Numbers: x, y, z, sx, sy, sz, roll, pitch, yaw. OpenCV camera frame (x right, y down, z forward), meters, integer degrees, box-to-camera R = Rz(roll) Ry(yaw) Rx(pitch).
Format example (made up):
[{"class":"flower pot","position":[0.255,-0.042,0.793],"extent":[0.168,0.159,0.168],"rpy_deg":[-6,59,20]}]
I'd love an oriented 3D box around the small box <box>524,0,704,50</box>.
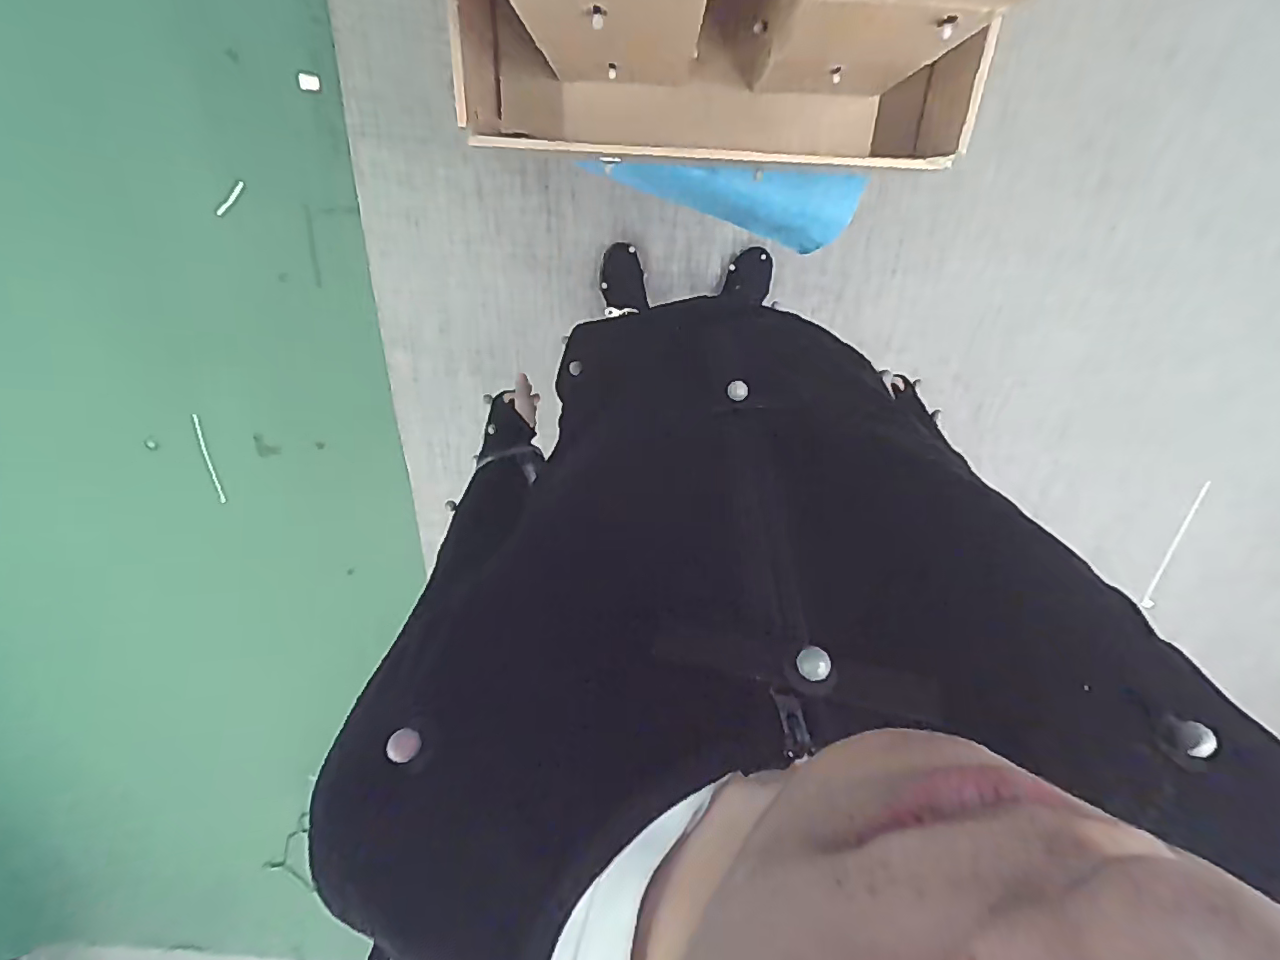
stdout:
[{"class":"small box","position":[-0.022,-0.514,0.486],"extent":[0.179,0.176,0.168],"rpy_deg":[3,115,0]}]
